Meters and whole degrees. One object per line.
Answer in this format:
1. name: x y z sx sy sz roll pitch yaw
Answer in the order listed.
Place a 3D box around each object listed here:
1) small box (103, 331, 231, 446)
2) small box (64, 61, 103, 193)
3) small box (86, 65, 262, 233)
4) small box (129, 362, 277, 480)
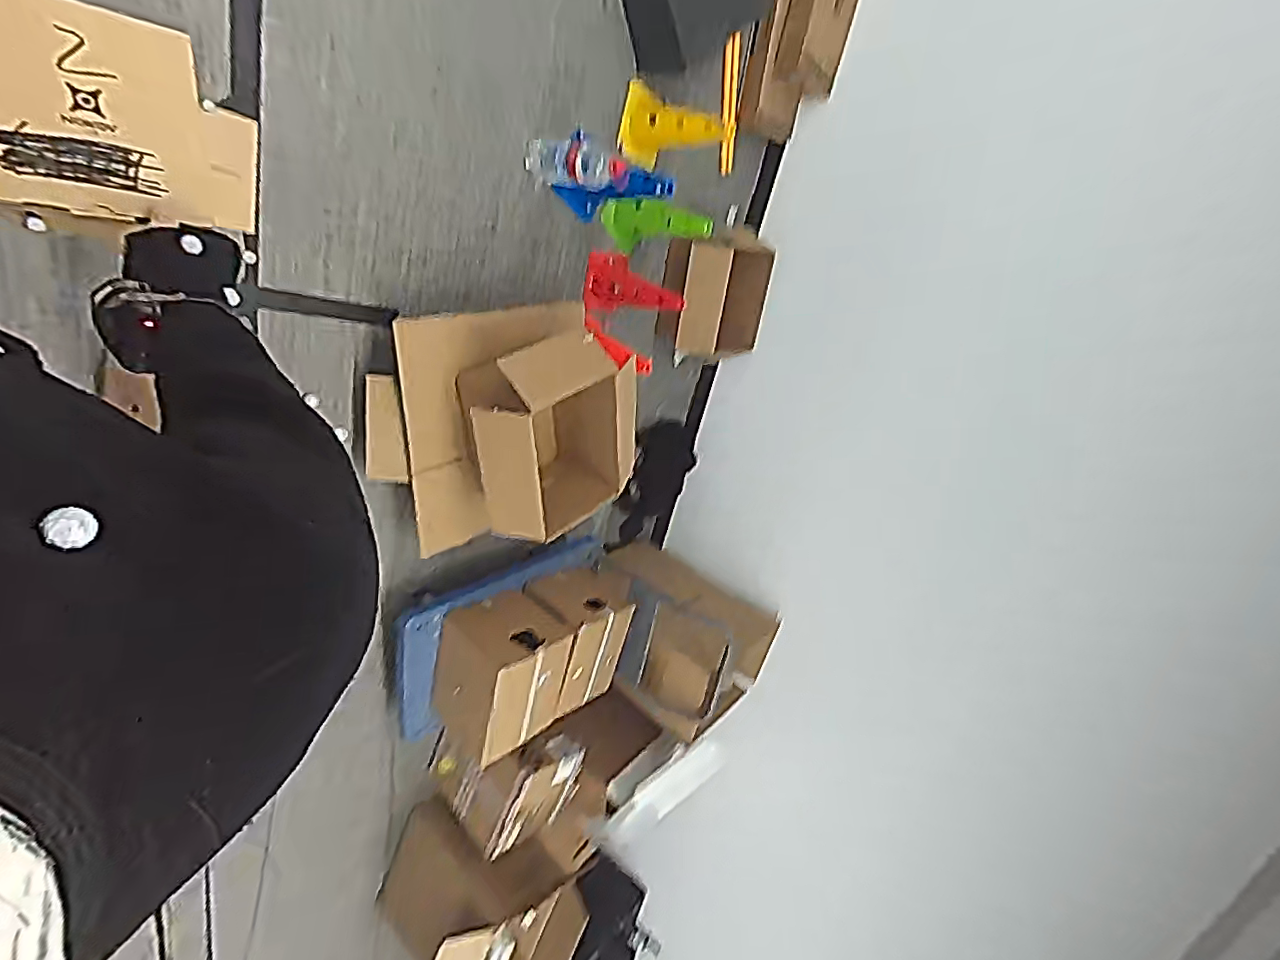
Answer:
1. small box: -0.938 -0.177 1.077 0.168 0.176 0.179 -2 116 -54
2. small box: -0.839 -0.572 0.918 0.168 0.176 0.179 -13 123 -51
3. small box: -0.718 -0.501 0.833 0.179 0.176 0.168 -9 121 -53
4. small box: -0.809 -0.112 1.001 0.179 0.176 0.168 -8 121 -51
